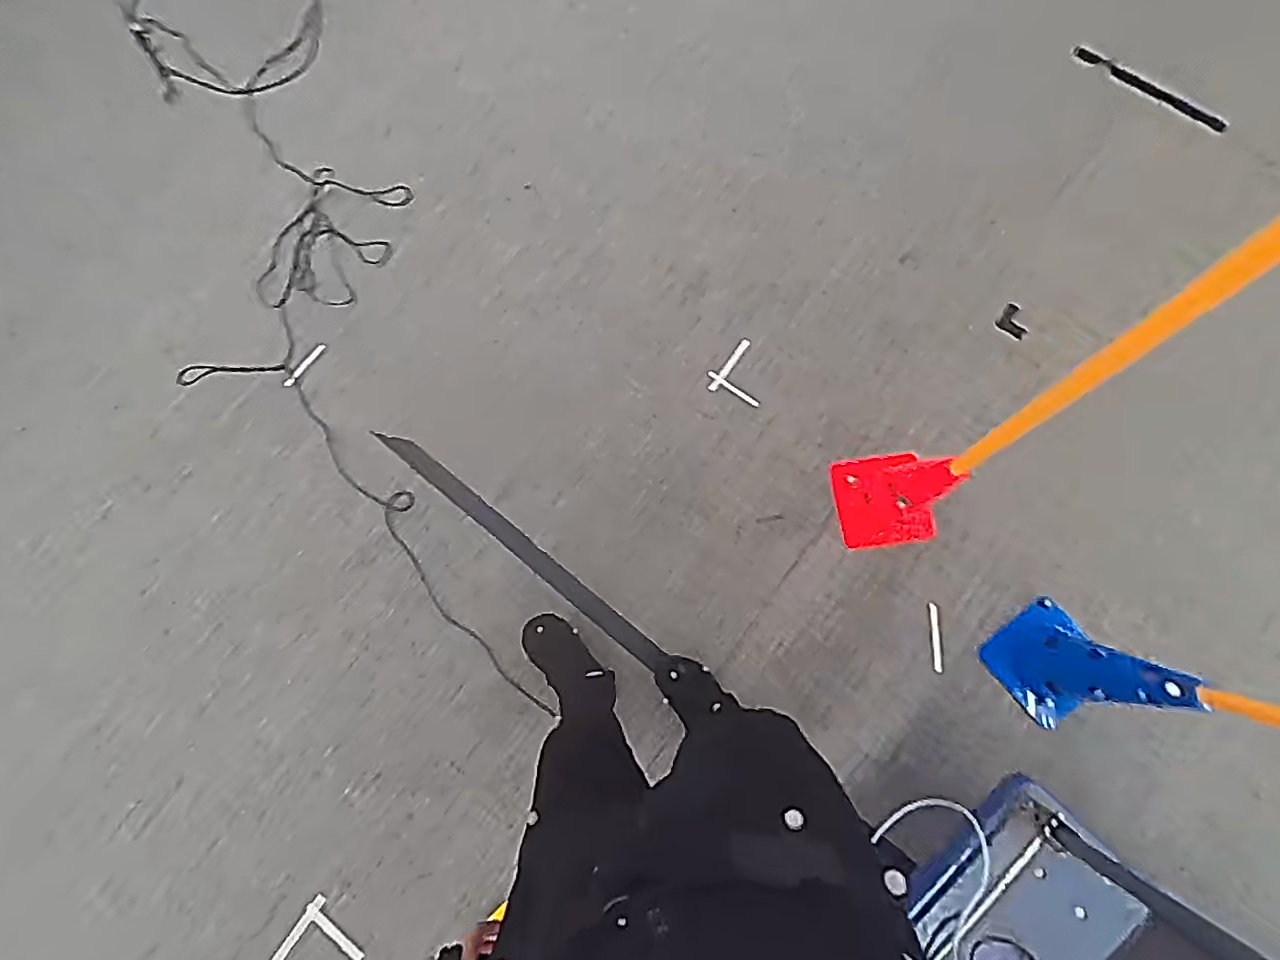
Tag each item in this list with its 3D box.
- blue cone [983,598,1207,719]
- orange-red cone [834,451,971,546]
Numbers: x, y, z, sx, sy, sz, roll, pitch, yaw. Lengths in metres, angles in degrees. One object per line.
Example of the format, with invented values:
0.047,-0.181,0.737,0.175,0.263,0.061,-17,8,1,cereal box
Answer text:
0.815,0.333,0.949,0.193,0.380,0.192,-37,77,-3,blue cone
0.521,0.010,1.023,0.198,0.360,0.199,-7,80,4,orange-red cone
